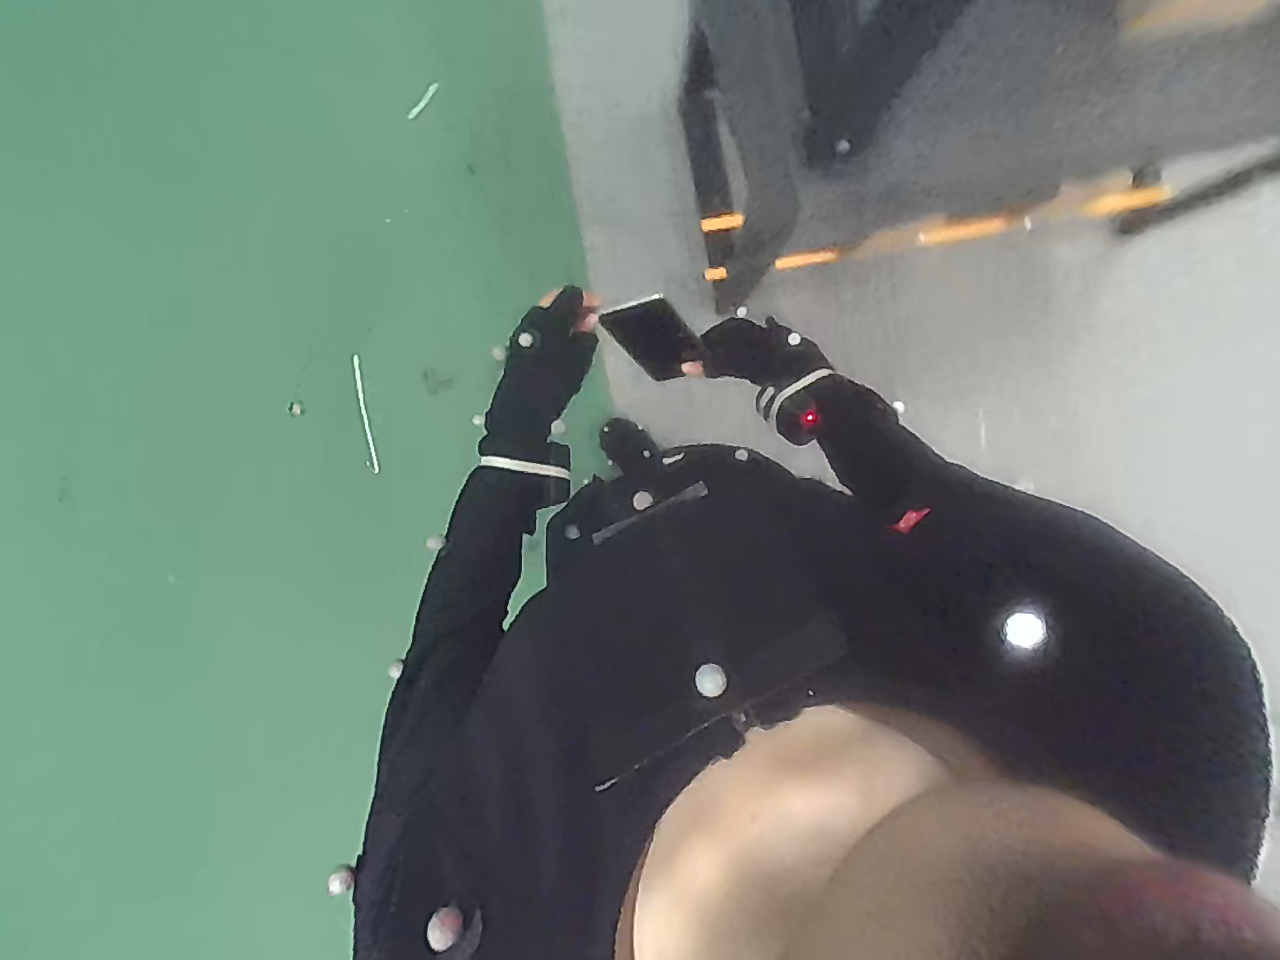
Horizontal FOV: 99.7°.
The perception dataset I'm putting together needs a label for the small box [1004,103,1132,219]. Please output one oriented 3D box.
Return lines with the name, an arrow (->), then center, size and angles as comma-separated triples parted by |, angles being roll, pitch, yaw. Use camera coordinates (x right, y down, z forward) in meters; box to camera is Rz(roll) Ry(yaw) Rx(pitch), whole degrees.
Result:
small box -> 0.983, -0.726, 1.253 | 0.168, 0.176, 0.179 | -8, 94, -1
